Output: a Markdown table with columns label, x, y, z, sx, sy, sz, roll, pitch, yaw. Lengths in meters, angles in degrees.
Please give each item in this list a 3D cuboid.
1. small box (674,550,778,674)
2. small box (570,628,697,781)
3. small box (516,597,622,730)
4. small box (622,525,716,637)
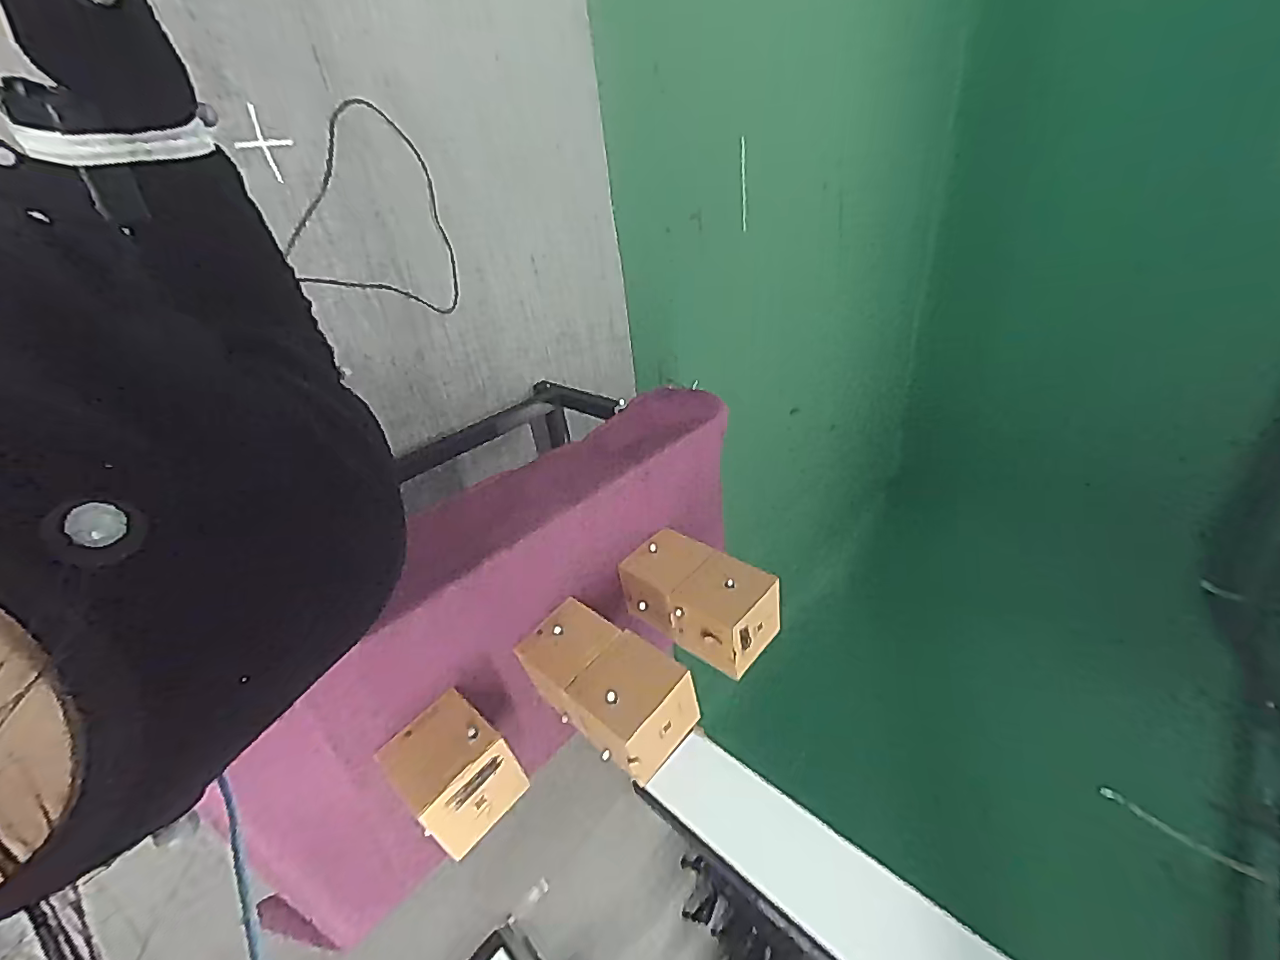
| label | x | y | z | sx | sy | sz | roll | pitch | yaw |
| --- | --- | --- | --- | --- | --- | --- | --- | --- | --- |
| small box | 0.189 | 0.288 | 1.212 | 0.179 | 0.176 | 0.168 | -36 | 130 | -33 |
| small box | -0.016 | 0.427 | 1.051 | 0.179 | 0.176 | 0.168 | -39 | 133 | -31 |
| small box | -0.134 | 0.384 | 1.156 | 0.168 | 0.176 | 0.179 | -40 | 132 | -30 |
| small box | 0.072 | 0.240 | 1.317 | 0.179 | 0.176 | 0.168 | -35 | 131 | -33 |
